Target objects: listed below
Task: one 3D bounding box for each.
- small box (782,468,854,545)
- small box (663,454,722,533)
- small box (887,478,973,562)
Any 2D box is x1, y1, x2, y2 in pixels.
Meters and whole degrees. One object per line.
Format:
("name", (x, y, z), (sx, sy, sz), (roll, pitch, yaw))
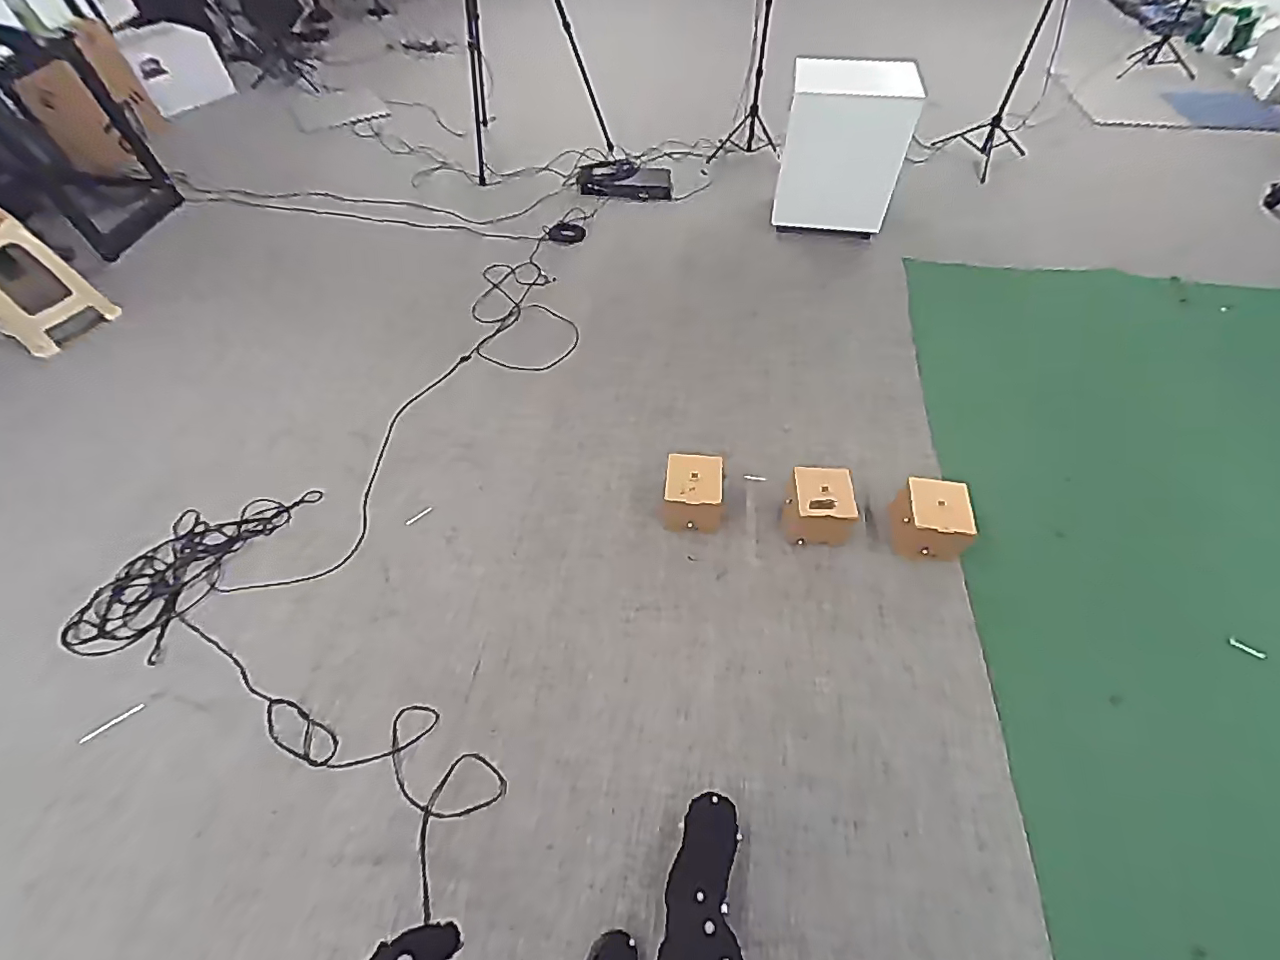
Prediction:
("small box", (0.532, 0.084, 1.637), (0.168, 0.176, 0.179), (3, 54, 2))
("small box", (0.160, 0.042, 1.668), (0.168, 0.176, 0.179), (4, 55, 5))
("small box", (0.852, 0.120, 1.610), (0.168, 0.176, 0.179), (7, 55, 6))
